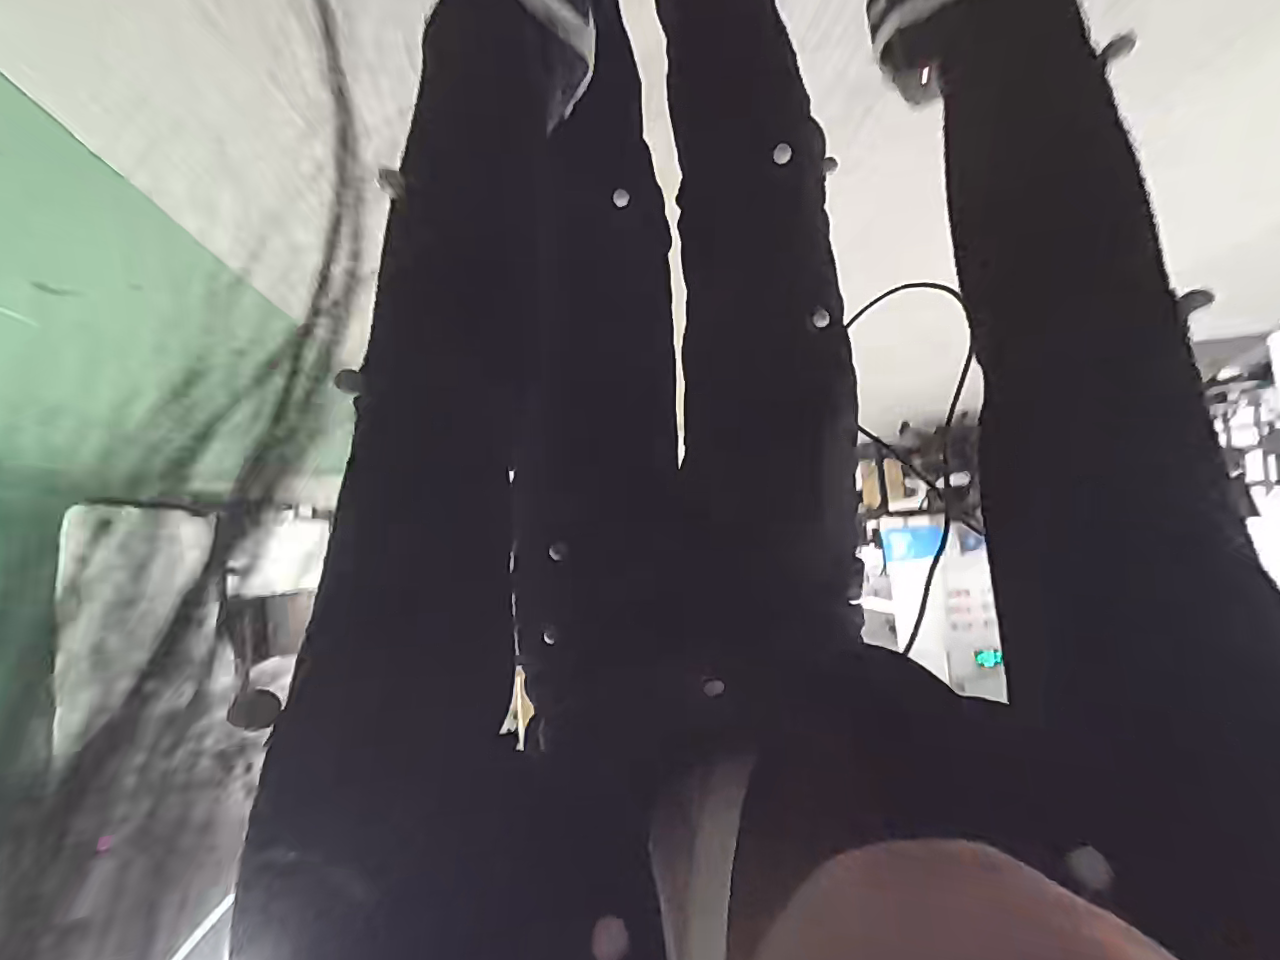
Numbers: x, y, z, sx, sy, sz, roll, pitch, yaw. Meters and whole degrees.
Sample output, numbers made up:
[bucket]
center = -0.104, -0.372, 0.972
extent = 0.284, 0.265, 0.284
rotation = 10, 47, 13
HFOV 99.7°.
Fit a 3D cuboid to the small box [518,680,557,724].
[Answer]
[small box]
center = -0.519, 1.108, 2.714
extent = 0.179, 0.176, 0.168
rotation = -3, 170, -17
